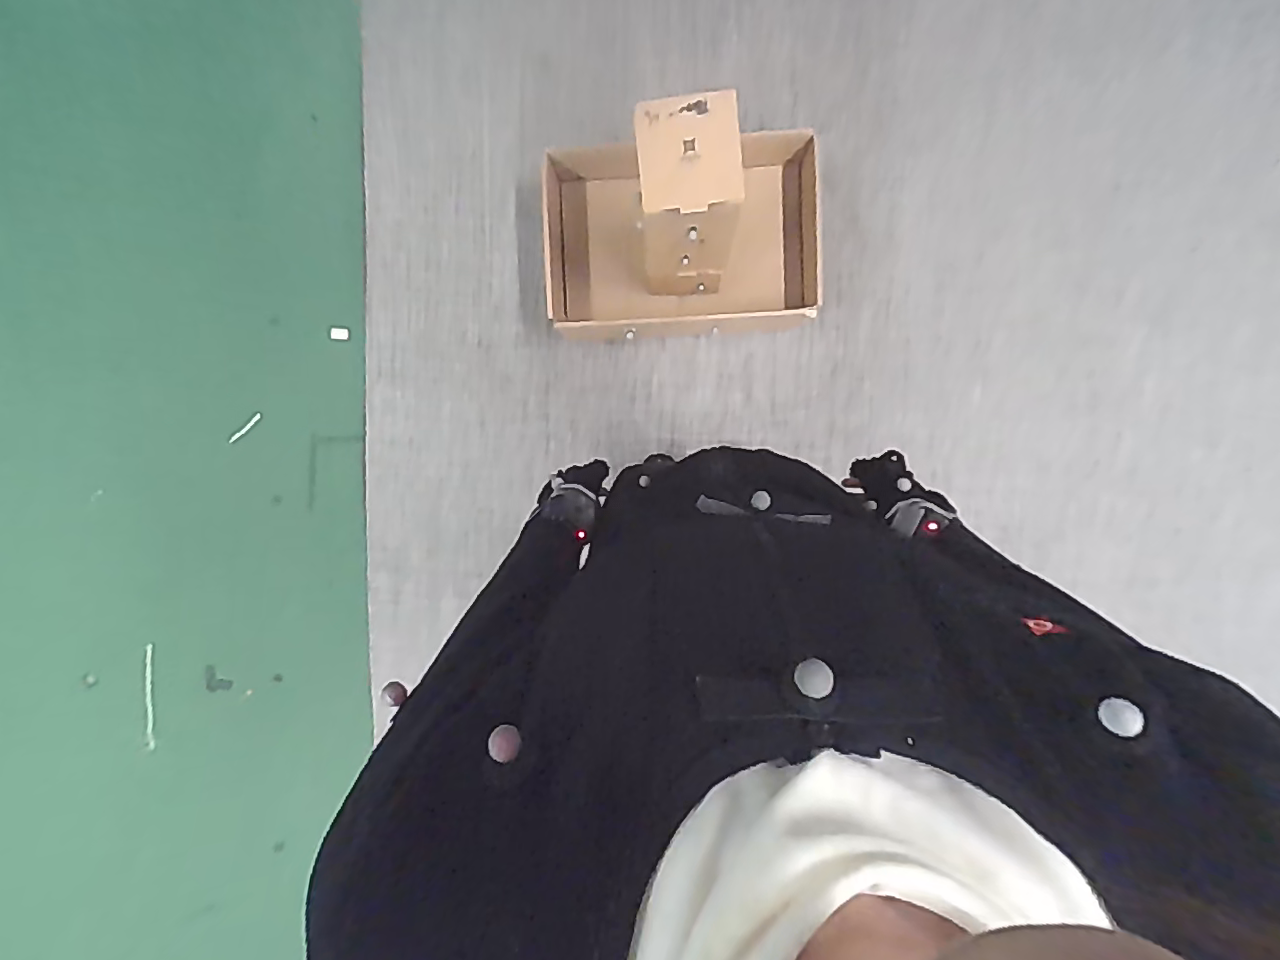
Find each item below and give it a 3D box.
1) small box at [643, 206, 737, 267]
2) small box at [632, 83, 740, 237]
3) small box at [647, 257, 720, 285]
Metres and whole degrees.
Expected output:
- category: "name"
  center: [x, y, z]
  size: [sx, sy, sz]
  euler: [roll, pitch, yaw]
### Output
- category: "small box"
  center: [0.094, -0.550, 1.103]
  size: [0.179, 0.176, 0.168]
  euler: [-6, 95, 3]
- category: "small box"
  center: [0.080, -0.539, 0.940]
  size: [0.168, 0.176, 0.179]
  euler: [-5, 95, 4]
- category: "small box"
  center: [0.102, -0.564, 1.266]
  size: [0.168, 0.176, 0.179]
  euler: [0, 93, 3]
